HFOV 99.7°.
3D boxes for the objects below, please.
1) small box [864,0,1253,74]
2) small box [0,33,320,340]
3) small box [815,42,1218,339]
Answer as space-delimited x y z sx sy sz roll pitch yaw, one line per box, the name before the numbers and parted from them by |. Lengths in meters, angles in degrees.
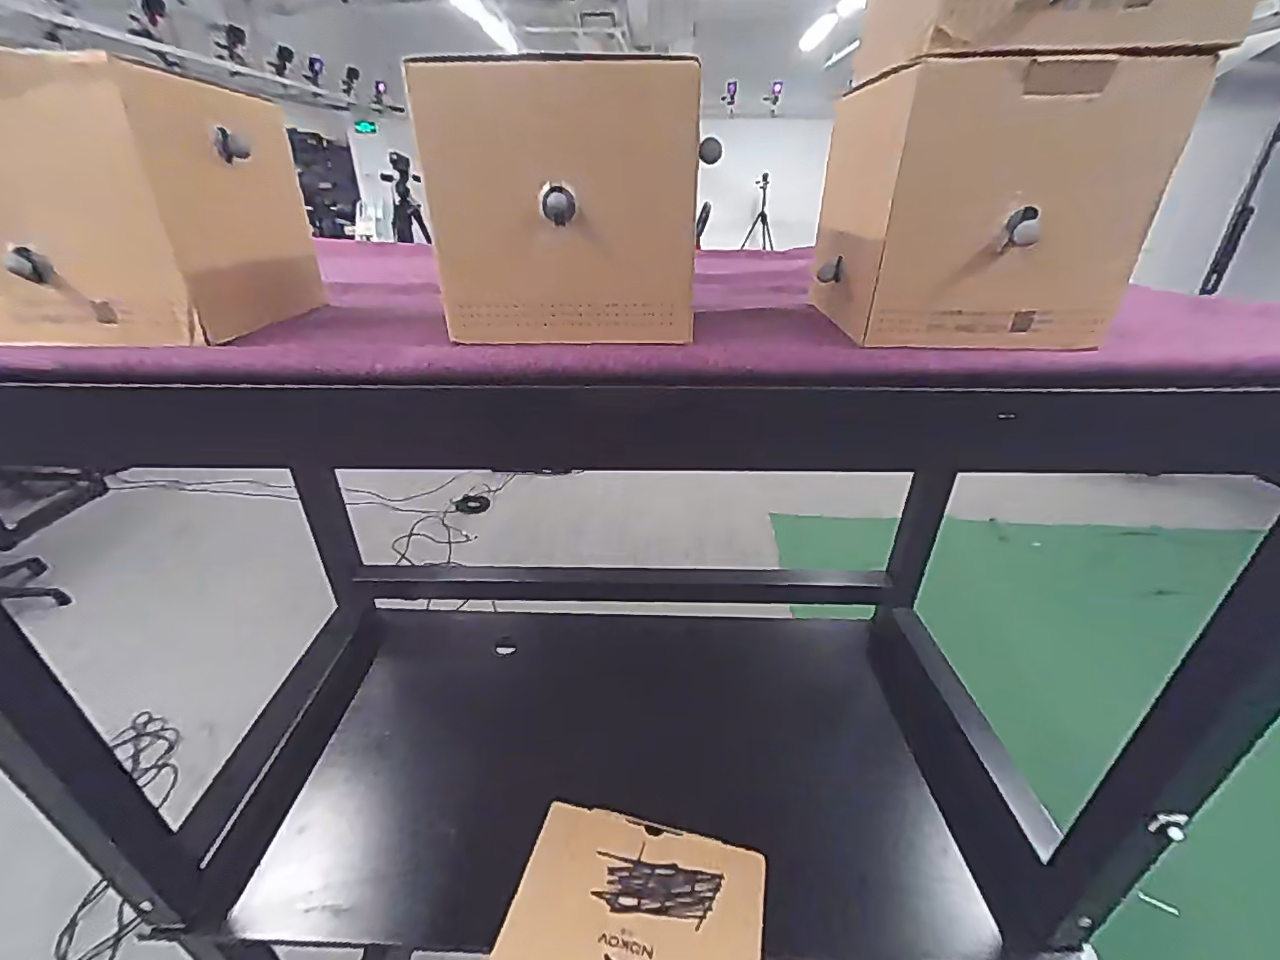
small box | 0.253 -0.352 0.331 0.168 0.176 0.179 1 30 5
small box | -0.373 -0.211 0.410 0.168 0.176 0.179 0 28 -2
small box | 0.244 -0.210 0.412 0.168 0.176 0.179 1 30 2
